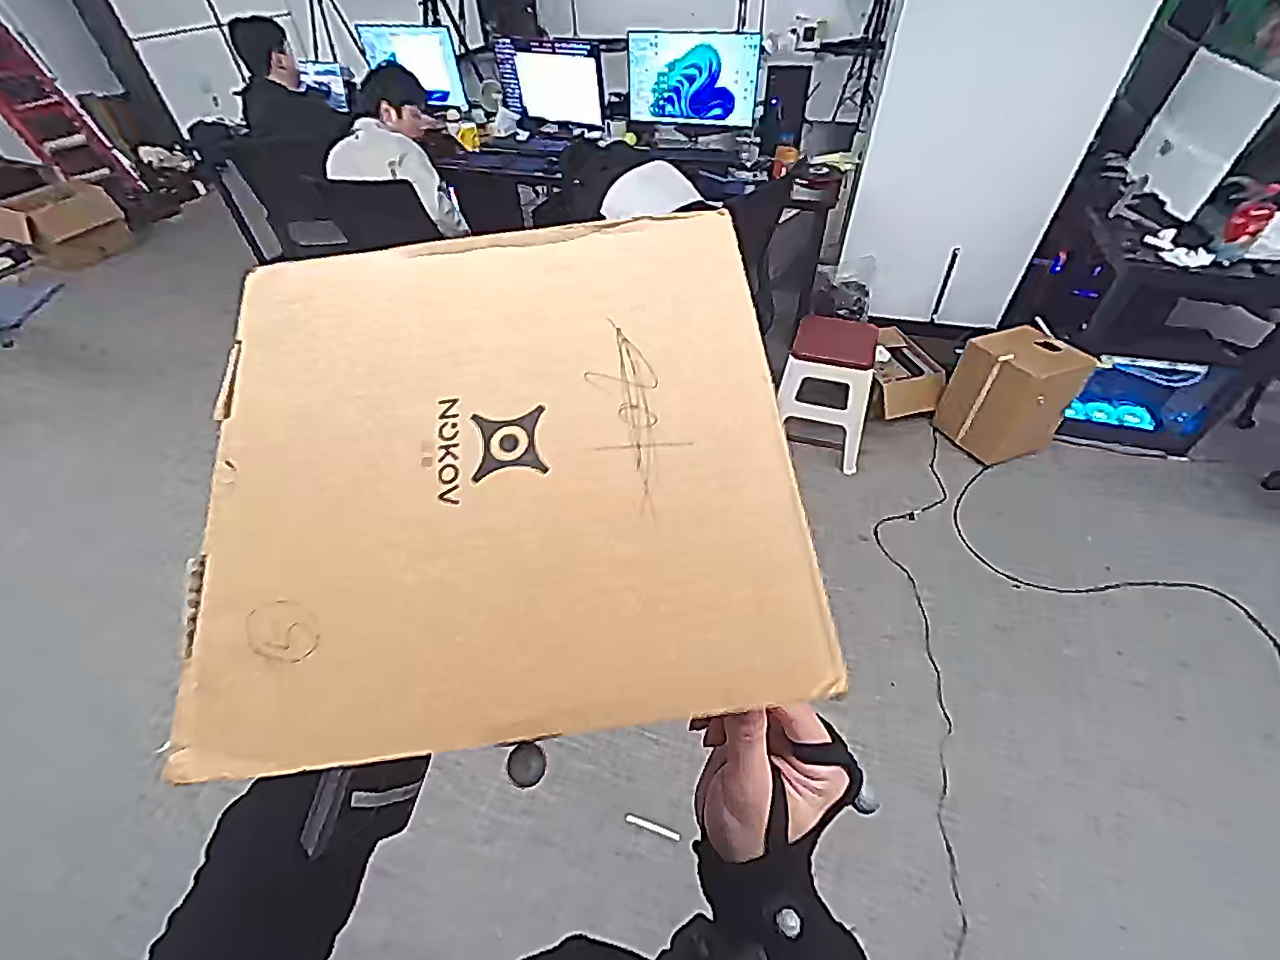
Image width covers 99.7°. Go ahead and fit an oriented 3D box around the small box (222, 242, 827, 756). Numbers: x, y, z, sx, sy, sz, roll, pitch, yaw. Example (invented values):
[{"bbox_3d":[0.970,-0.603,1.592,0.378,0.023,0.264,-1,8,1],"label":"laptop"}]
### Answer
[{"bbox_3d":[-0.039,0.023,0.255,0.179,0.176,0.168,-8,69,-2],"label":"small box"}]
